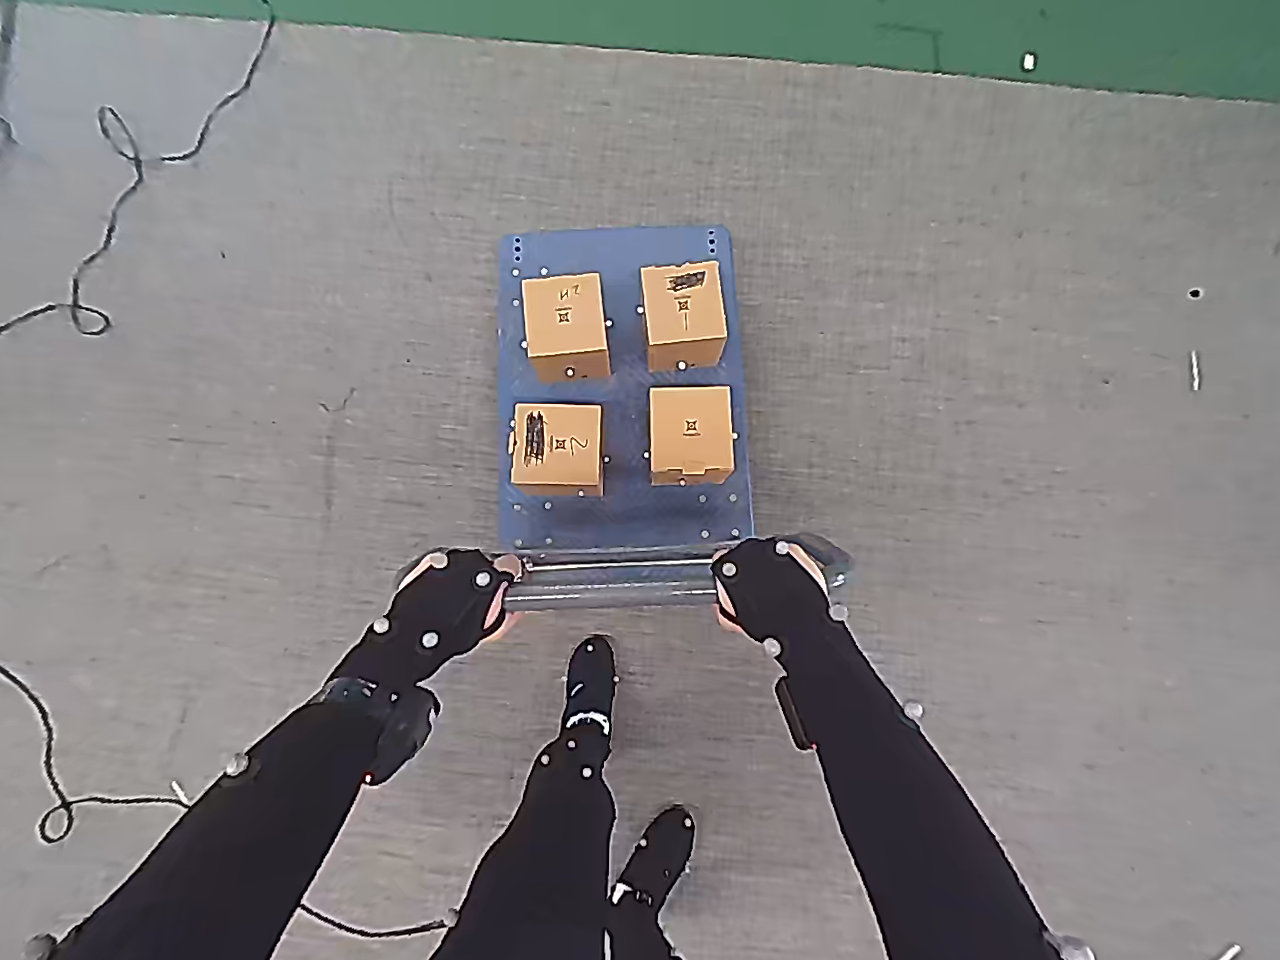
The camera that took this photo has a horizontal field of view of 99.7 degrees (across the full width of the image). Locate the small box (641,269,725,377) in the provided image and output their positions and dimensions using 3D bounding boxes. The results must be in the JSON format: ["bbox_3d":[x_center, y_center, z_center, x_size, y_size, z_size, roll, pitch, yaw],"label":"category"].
[{"bbox_3d":[0.091,-0.352,1.233,0.168,0.176,0.179,-6,81,0],"label":"small box"}]

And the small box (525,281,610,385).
[{"bbox_3d":[-0.159,-0.324,1.228,0.168,0.176,0.179,-6,80,-2],"label":"small box"}]

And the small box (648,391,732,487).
[{"bbox_3d":[0.103,-0.085,1.189,0.168,0.176,0.179,-2,81,-1],"label":"small box"}]
